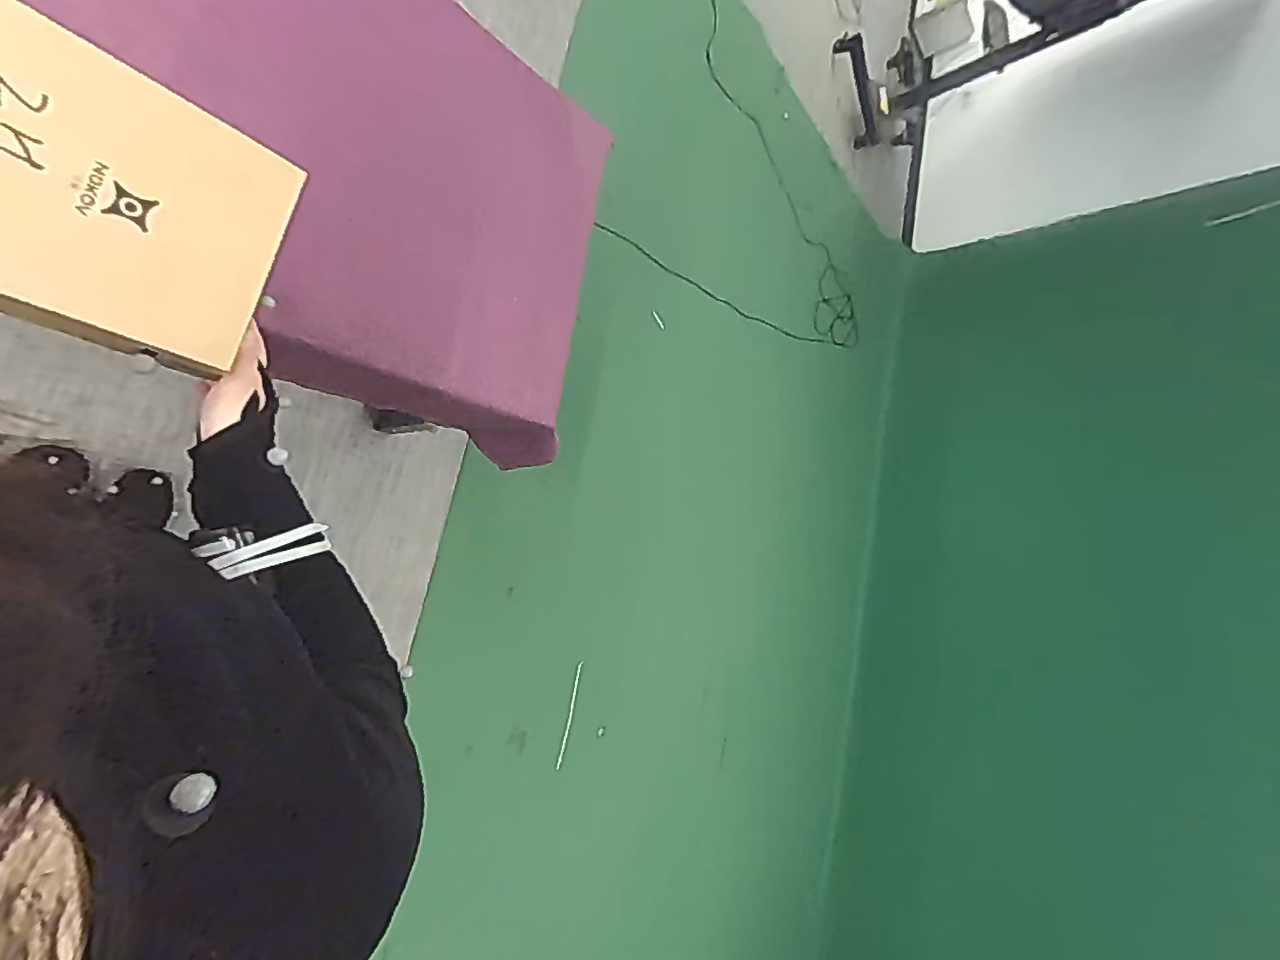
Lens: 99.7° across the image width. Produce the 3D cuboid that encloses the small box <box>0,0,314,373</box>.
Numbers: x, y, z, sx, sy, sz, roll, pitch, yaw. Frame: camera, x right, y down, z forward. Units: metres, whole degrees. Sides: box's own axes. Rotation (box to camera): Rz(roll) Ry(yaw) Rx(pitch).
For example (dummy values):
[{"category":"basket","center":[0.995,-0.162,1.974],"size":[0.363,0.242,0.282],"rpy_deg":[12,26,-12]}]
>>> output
[{"category":"small box","center":[-0.388,-0.191,0.416],"size":[0.179,0.176,0.168],"rpy_deg":[22,81,-40]}]
